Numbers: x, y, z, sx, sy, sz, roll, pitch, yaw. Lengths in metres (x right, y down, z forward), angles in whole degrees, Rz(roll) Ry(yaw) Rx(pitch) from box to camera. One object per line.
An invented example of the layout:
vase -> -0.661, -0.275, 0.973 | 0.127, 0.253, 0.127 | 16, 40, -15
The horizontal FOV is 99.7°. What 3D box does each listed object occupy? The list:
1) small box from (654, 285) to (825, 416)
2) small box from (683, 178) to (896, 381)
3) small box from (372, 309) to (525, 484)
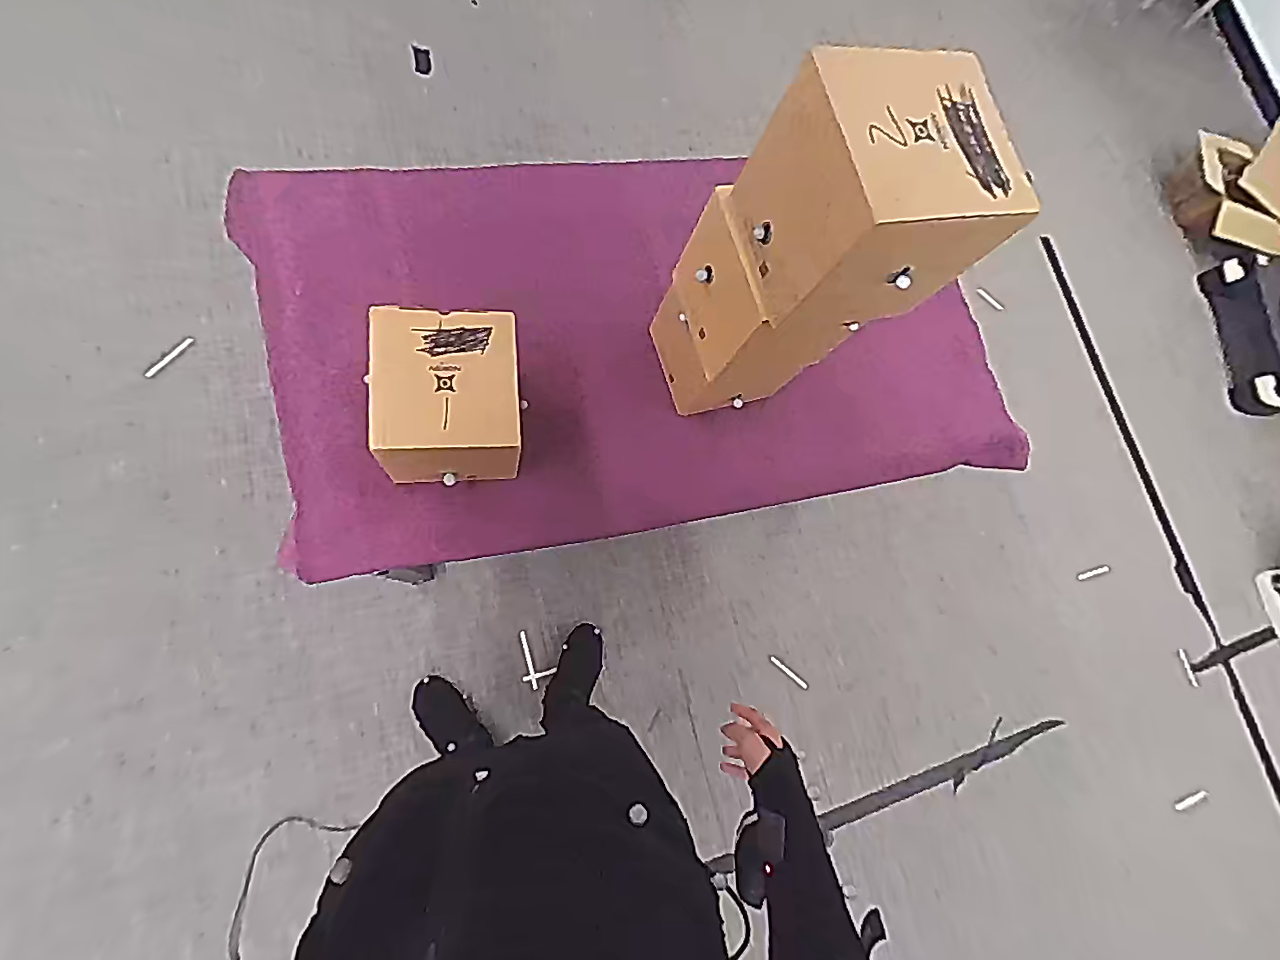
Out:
small box -> 0.142, -0.214, 0.829 | 0.179, 0.176, 0.168 | -14, 80, -18
small box -> 0.166, -0.237, 0.668 | 0.179, 0.176, 0.168 | -14, 80, -17
small box -> -0.241, -0.099, 0.704 | 0.168, 0.176, 0.179 | -2, 78, -15
